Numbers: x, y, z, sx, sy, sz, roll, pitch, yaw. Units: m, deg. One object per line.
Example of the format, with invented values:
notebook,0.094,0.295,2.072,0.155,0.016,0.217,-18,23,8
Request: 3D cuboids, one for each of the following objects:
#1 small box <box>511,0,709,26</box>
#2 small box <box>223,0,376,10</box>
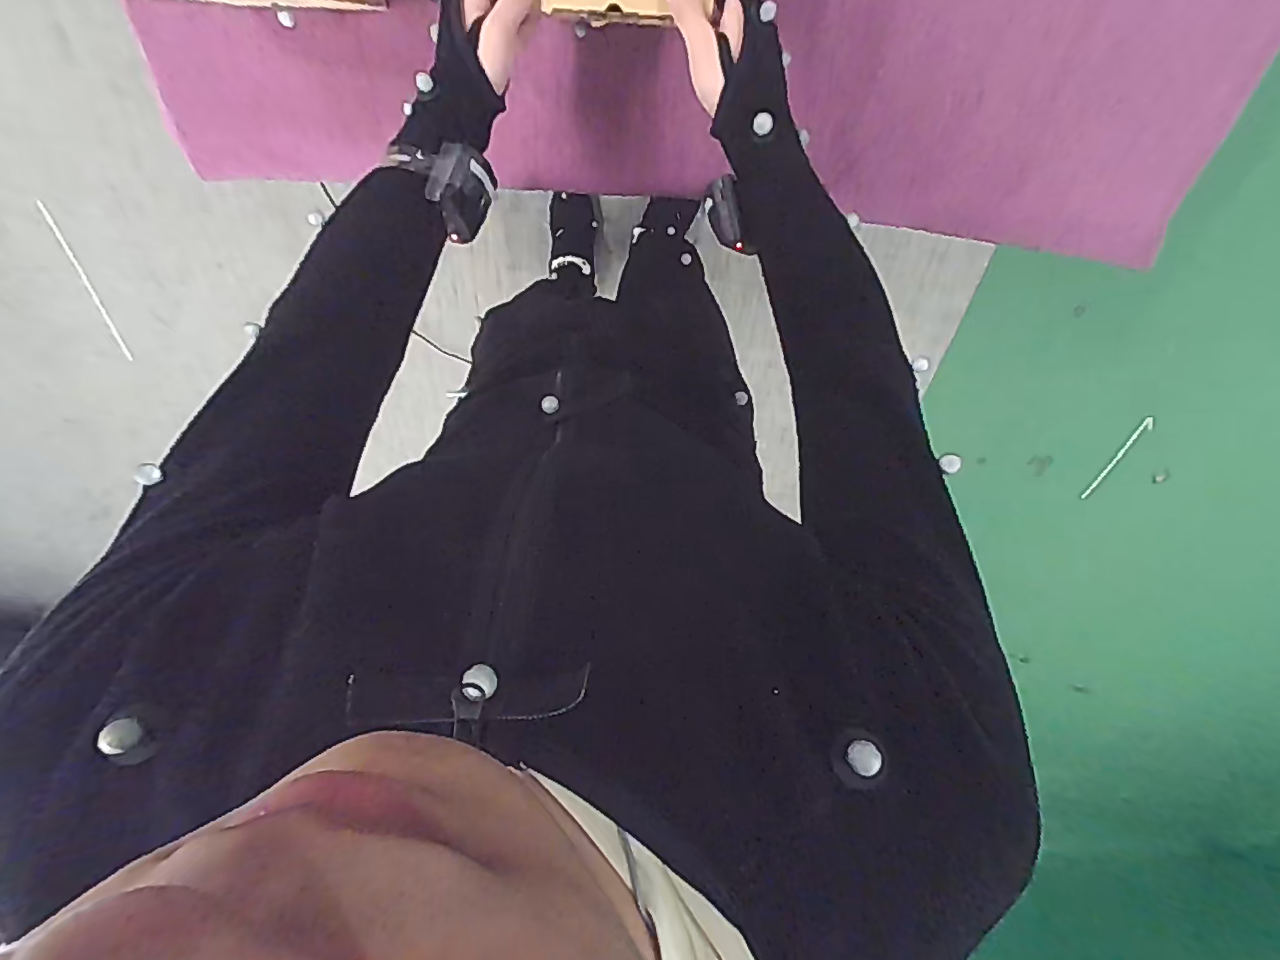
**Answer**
small box,-0.015,-0.501,0.454,0.168,0.176,0.179,5,128,2
small box,-0.361,-0.530,0.466,0.168,0.176,0.179,4,129,3
